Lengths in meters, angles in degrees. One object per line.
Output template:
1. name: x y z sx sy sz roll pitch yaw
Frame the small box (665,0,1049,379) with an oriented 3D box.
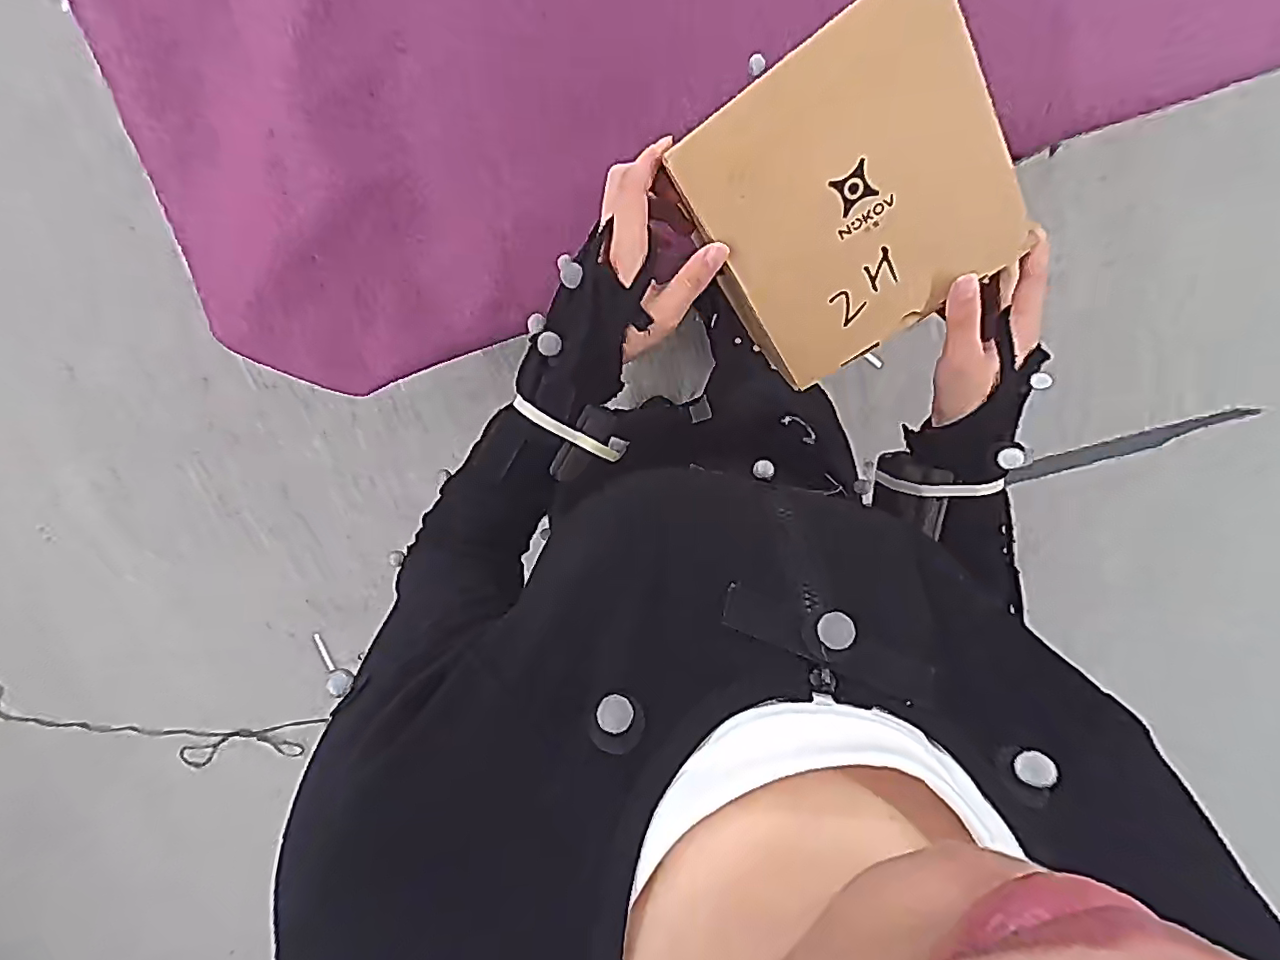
1. small box: 0.129 -0.205 0.381 0.168 0.176 0.179 -32 113 15
